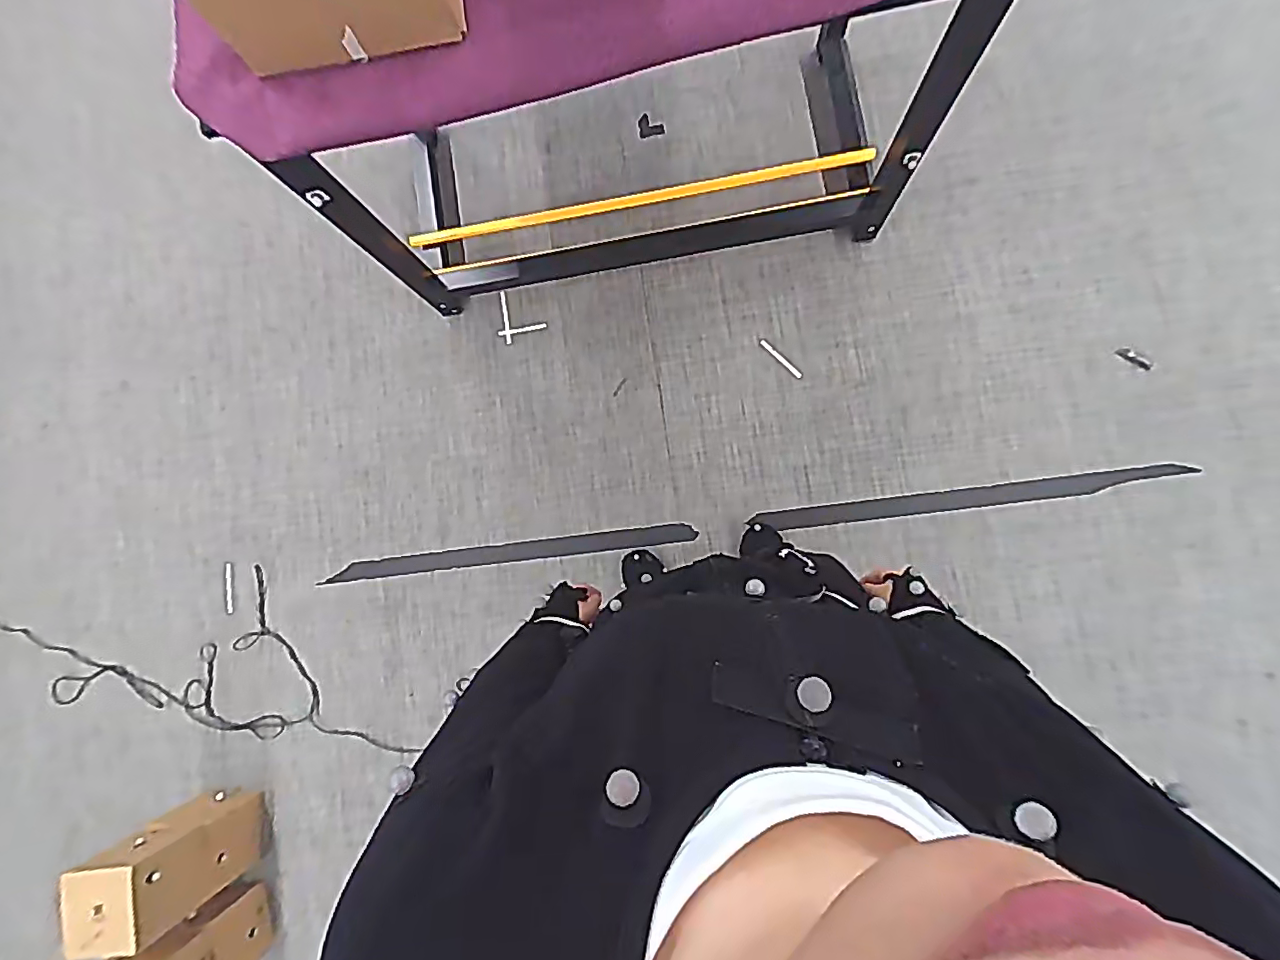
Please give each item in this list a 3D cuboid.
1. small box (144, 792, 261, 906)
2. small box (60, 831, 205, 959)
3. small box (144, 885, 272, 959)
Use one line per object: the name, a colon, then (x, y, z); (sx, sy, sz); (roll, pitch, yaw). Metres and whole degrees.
small box: (-1.087, 0.913, 1.349); (0.168, 0.176, 0.179); (-3, 84, 5)
small box: (-1.102, 0.900, 1.185); (0.168, 0.176, 0.179); (-9, 85, 5)
small box: (-1.055, 1.144, 1.328); (0.179, 0.176, 0.168); (-15, 83, 4)
